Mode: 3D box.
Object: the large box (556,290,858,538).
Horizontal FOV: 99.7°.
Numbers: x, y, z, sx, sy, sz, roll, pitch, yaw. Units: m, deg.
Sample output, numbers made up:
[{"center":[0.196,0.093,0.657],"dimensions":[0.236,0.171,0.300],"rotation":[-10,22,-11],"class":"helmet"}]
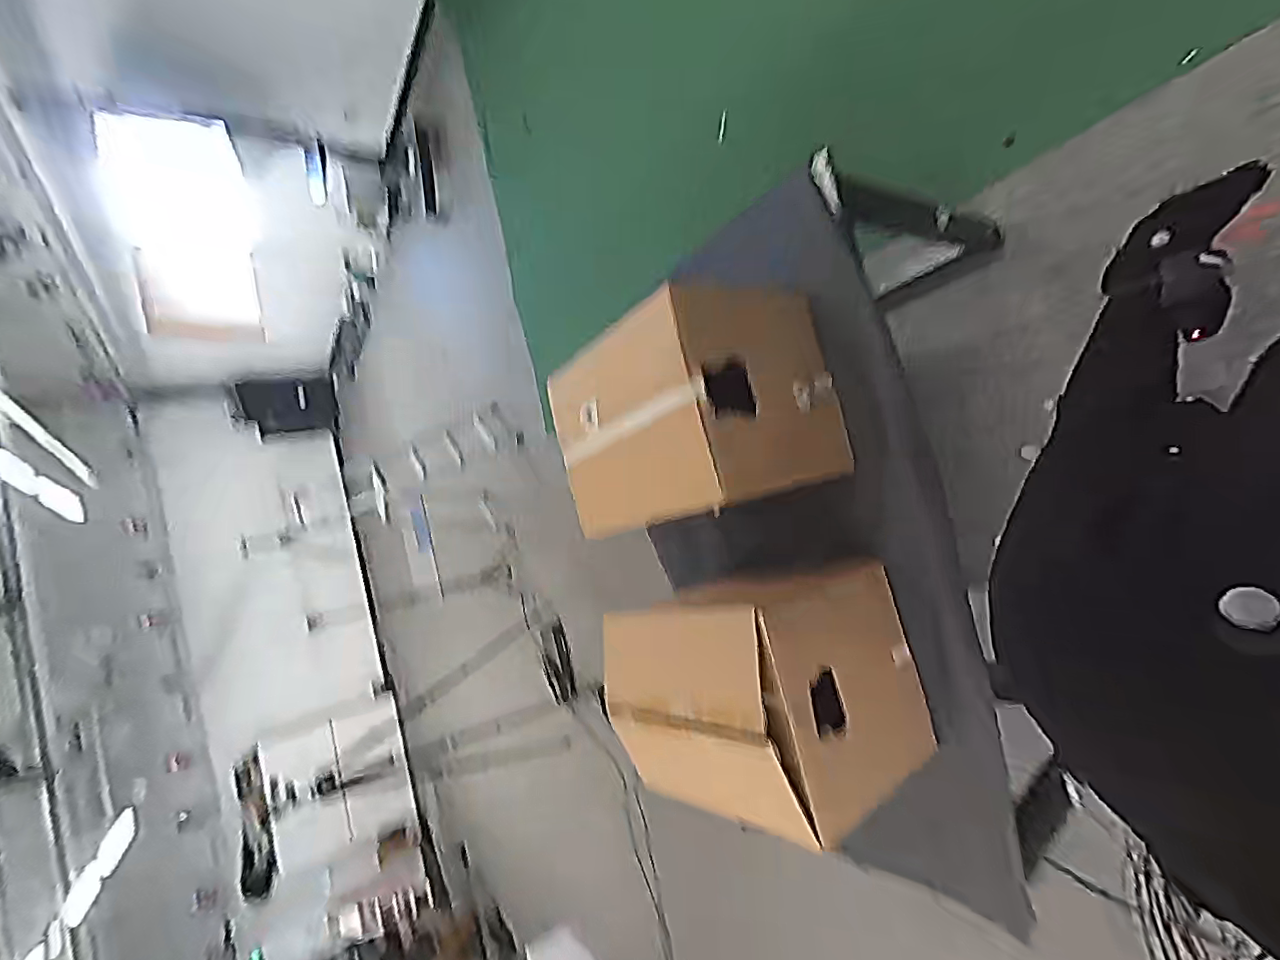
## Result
[{"center":[0.101,-0.104,0.977],"dimensions":[0.408,0.320,0.320],"rotation":[-21,82,55],"class":"large box"}]
